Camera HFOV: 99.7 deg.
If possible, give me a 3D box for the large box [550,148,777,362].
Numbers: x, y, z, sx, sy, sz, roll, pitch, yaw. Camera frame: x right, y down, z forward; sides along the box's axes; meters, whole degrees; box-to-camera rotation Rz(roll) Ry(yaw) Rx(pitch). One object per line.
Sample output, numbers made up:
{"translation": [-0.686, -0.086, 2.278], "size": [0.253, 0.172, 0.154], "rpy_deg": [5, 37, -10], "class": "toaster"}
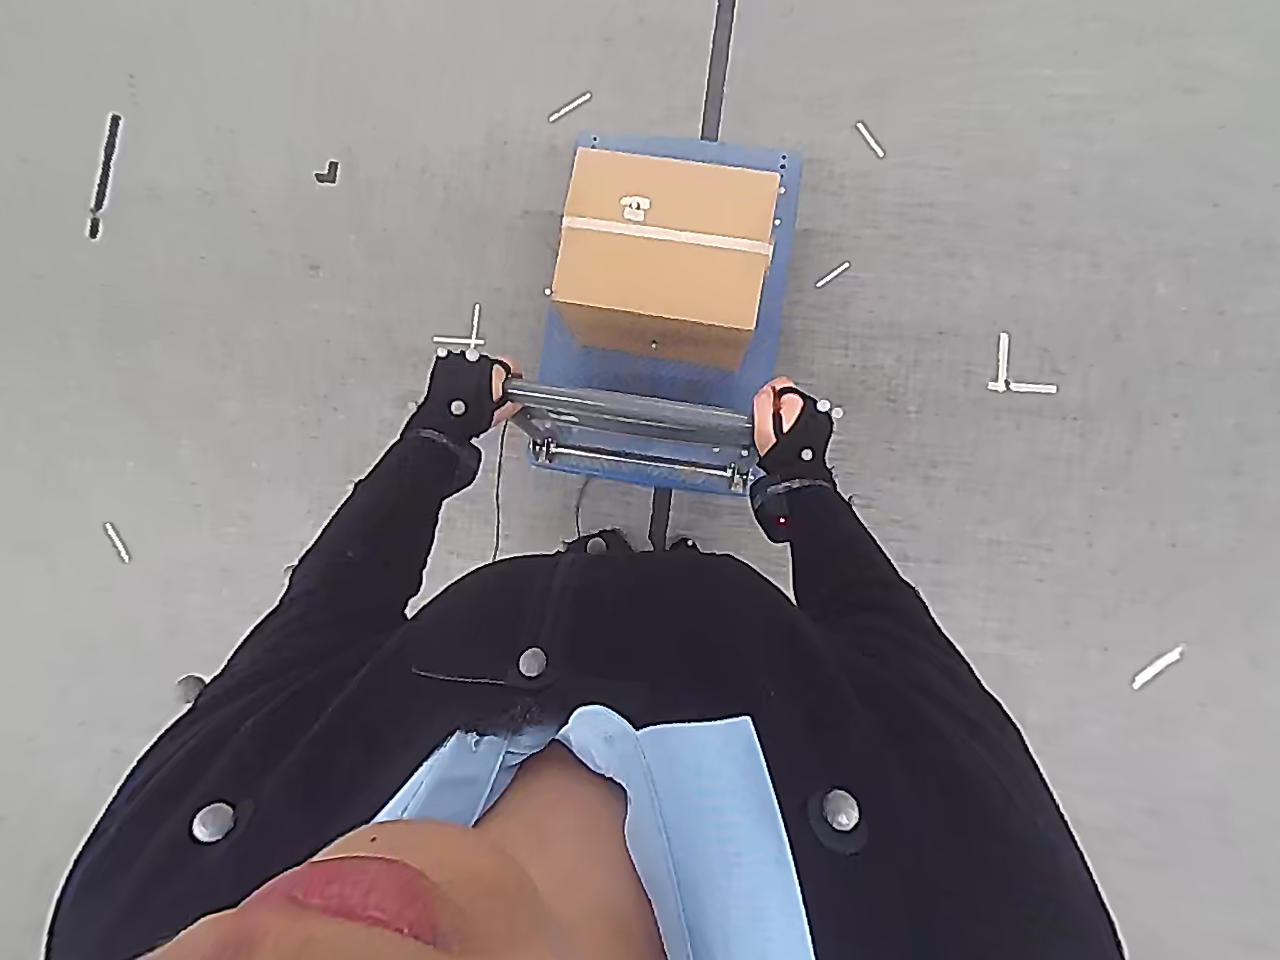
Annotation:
{"translation": [0.057, -0.465, 1.183], "size": [0.408, 0.320, 0.320], "rpy_deg": [10, 87, 5], "class": "large box"}
